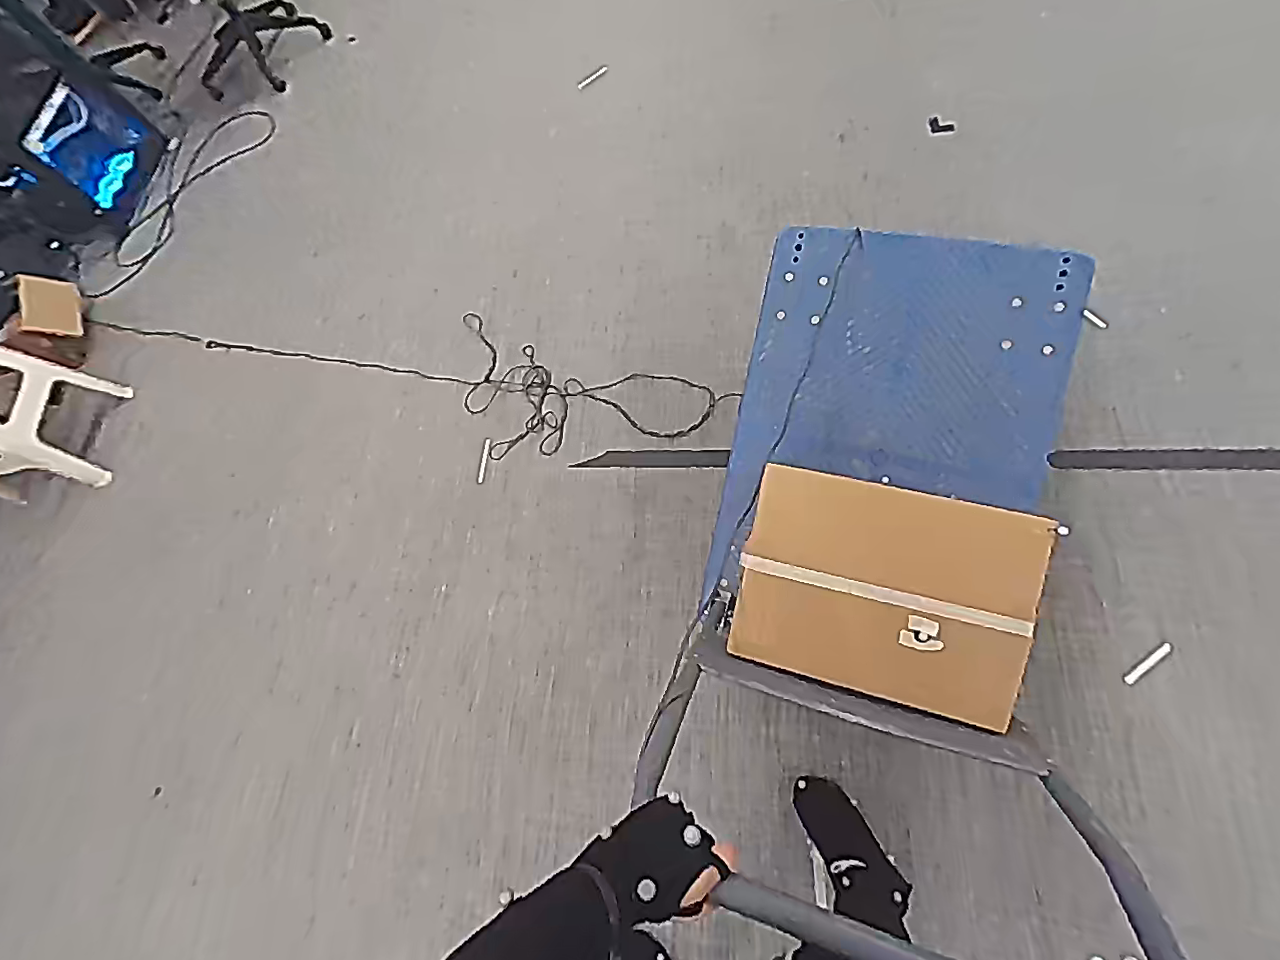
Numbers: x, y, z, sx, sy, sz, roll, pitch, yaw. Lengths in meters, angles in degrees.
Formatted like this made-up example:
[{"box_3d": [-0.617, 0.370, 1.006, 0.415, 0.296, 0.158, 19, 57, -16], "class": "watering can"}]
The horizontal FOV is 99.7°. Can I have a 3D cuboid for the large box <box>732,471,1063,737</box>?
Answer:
[{"box_3d": [0.394, 0.171, 0.932, 0.408, 0.320, 0.320, 12, 94, 14], "class": "large box"}]
